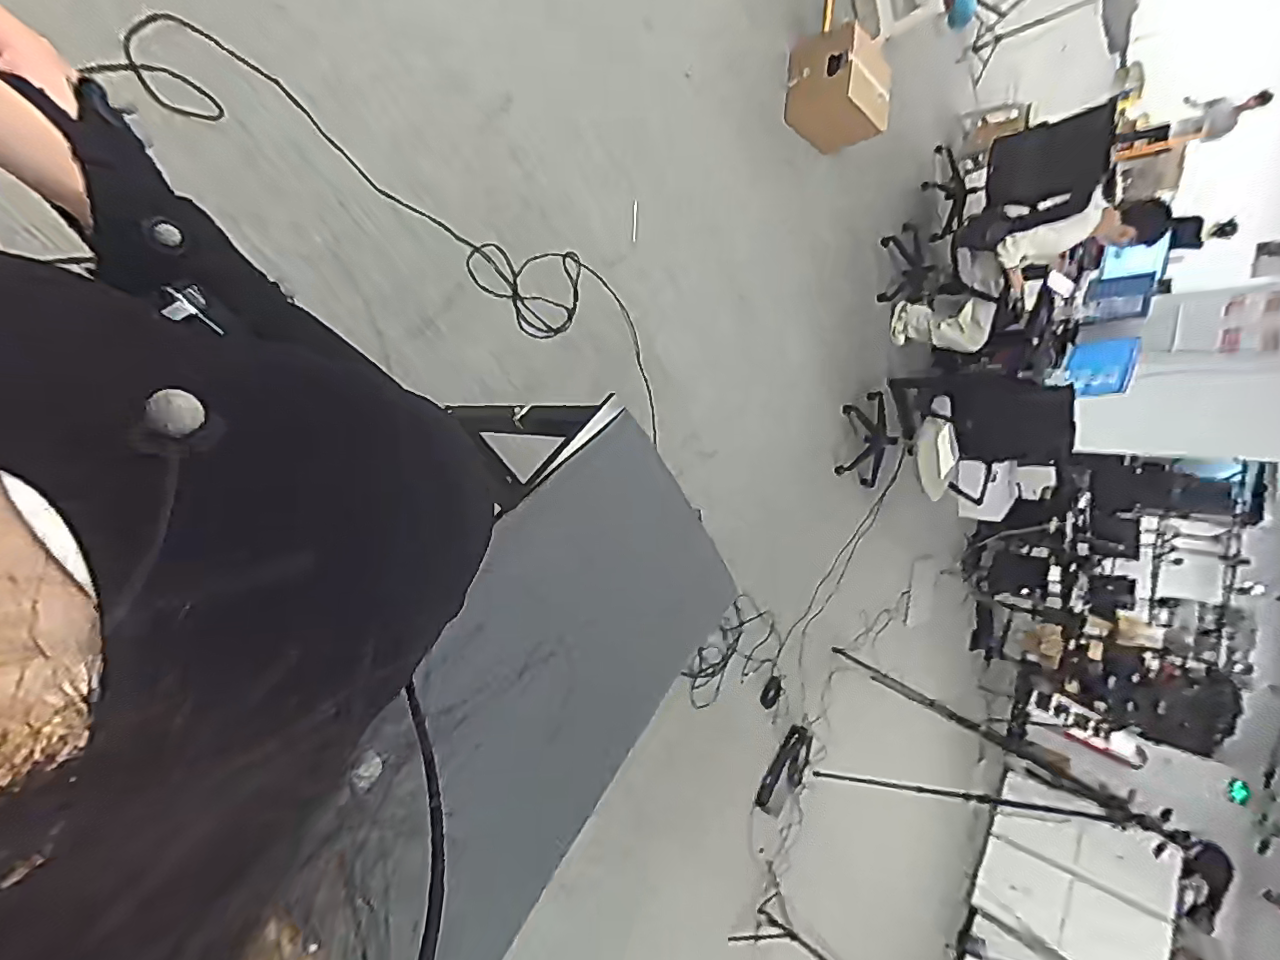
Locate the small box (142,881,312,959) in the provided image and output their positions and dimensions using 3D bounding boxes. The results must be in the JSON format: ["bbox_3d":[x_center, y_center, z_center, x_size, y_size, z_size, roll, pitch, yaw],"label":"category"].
[{"bbox_3d":[-0.475,0.617,0.612,0.179,0.176,0.168,-32,119,-39],"label":"small box"}]
